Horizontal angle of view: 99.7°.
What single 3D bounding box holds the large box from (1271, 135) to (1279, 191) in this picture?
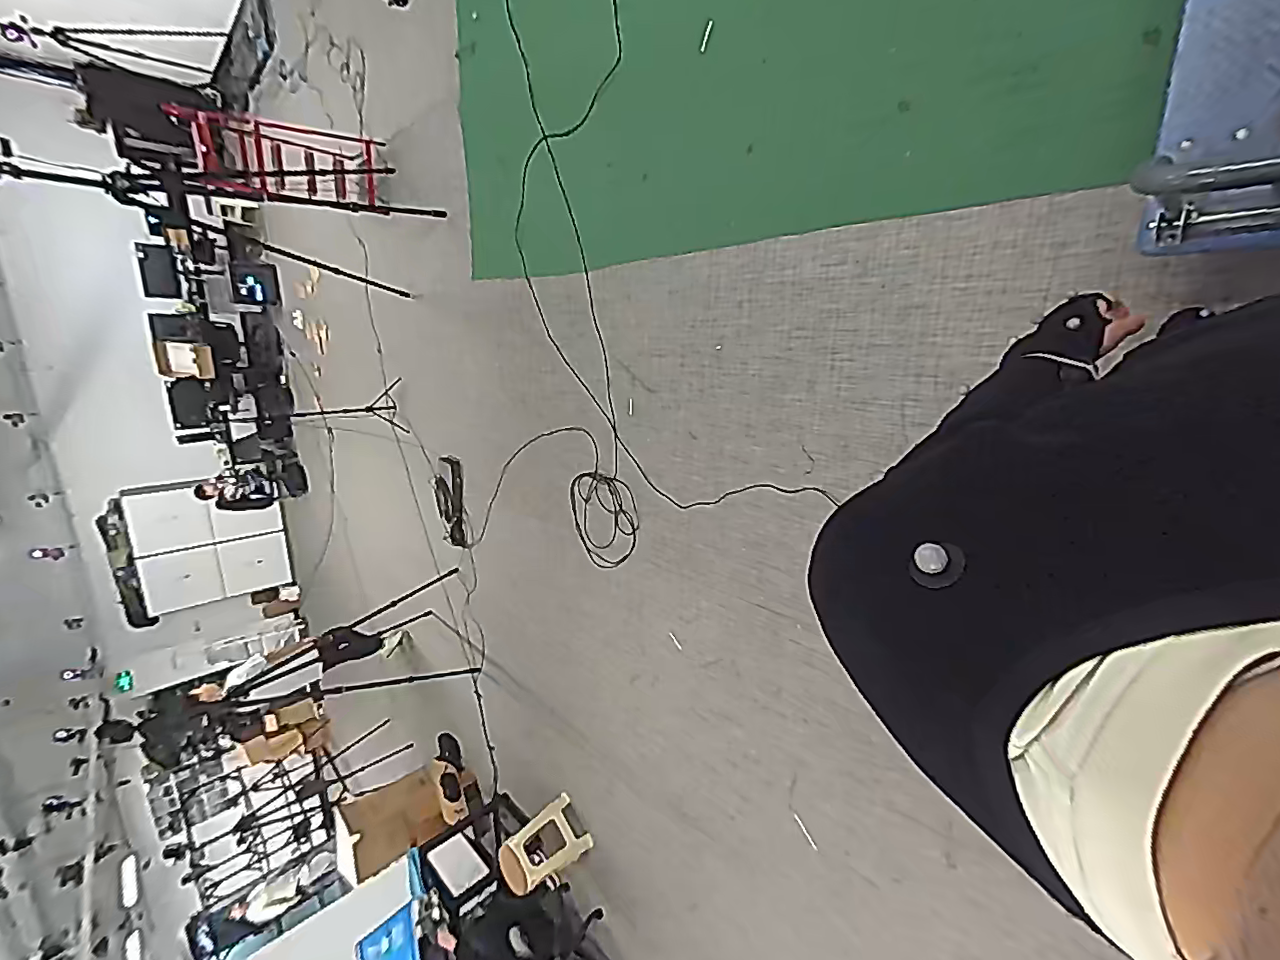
[{"bbox_3d":[1.081,-0.647,0.686,0.320,0.320,0.408,12,107,44],"label":"large box"}]
